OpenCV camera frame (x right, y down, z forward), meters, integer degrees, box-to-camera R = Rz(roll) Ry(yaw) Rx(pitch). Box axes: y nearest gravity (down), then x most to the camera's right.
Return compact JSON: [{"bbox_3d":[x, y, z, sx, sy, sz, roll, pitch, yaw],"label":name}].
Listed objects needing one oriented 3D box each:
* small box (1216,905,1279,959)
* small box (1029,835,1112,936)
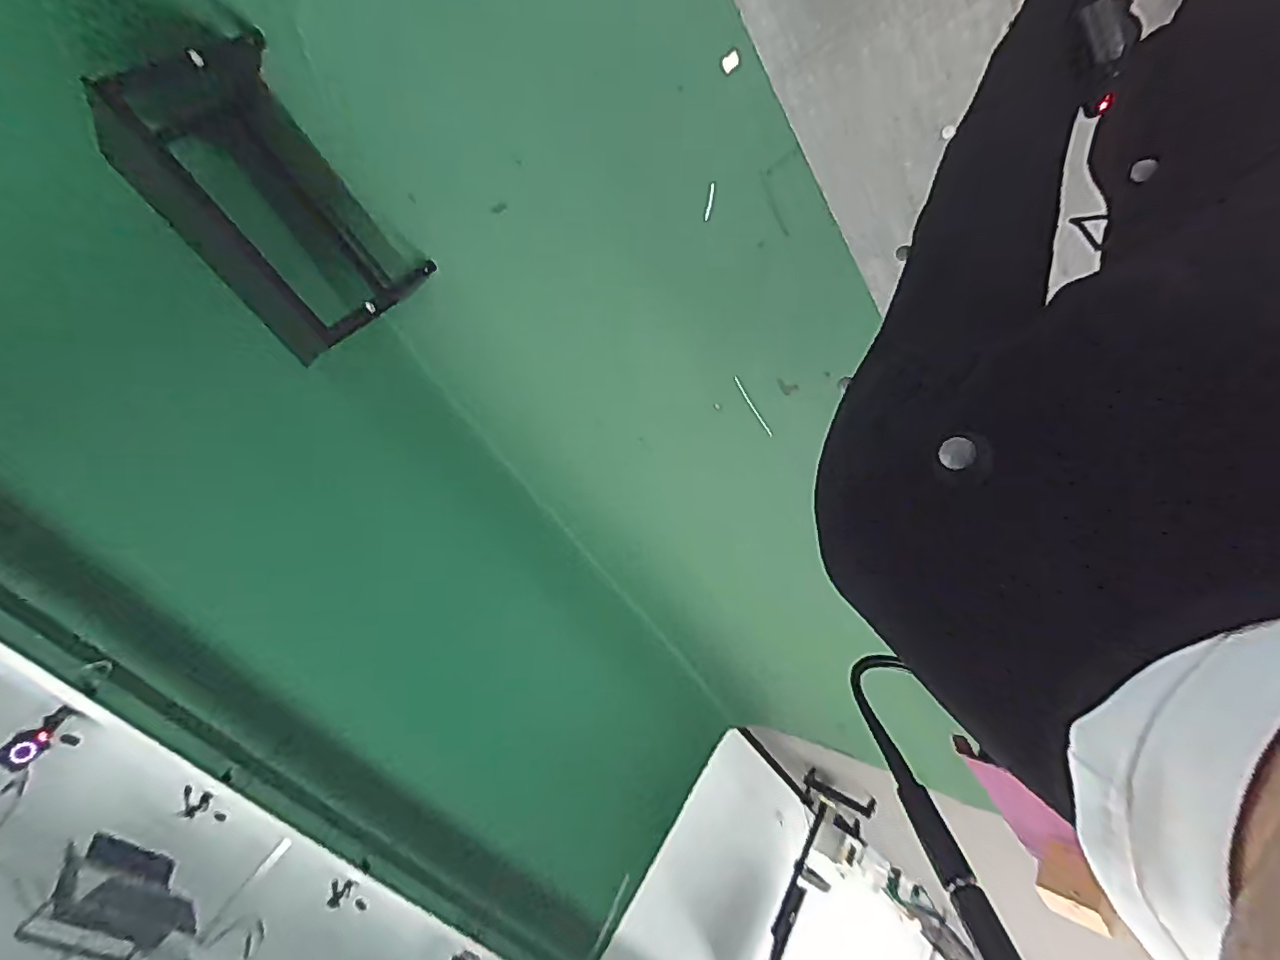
[{"bbox_3d":[1.626,1.258,1.394,0.168,0.176,0.179,-10,124,53],"label":"small box"},{"bbox_3d":[1.370,1.278,1.715,0.168,0.176,0.179,-6,128,51],"label":"small box"}]
